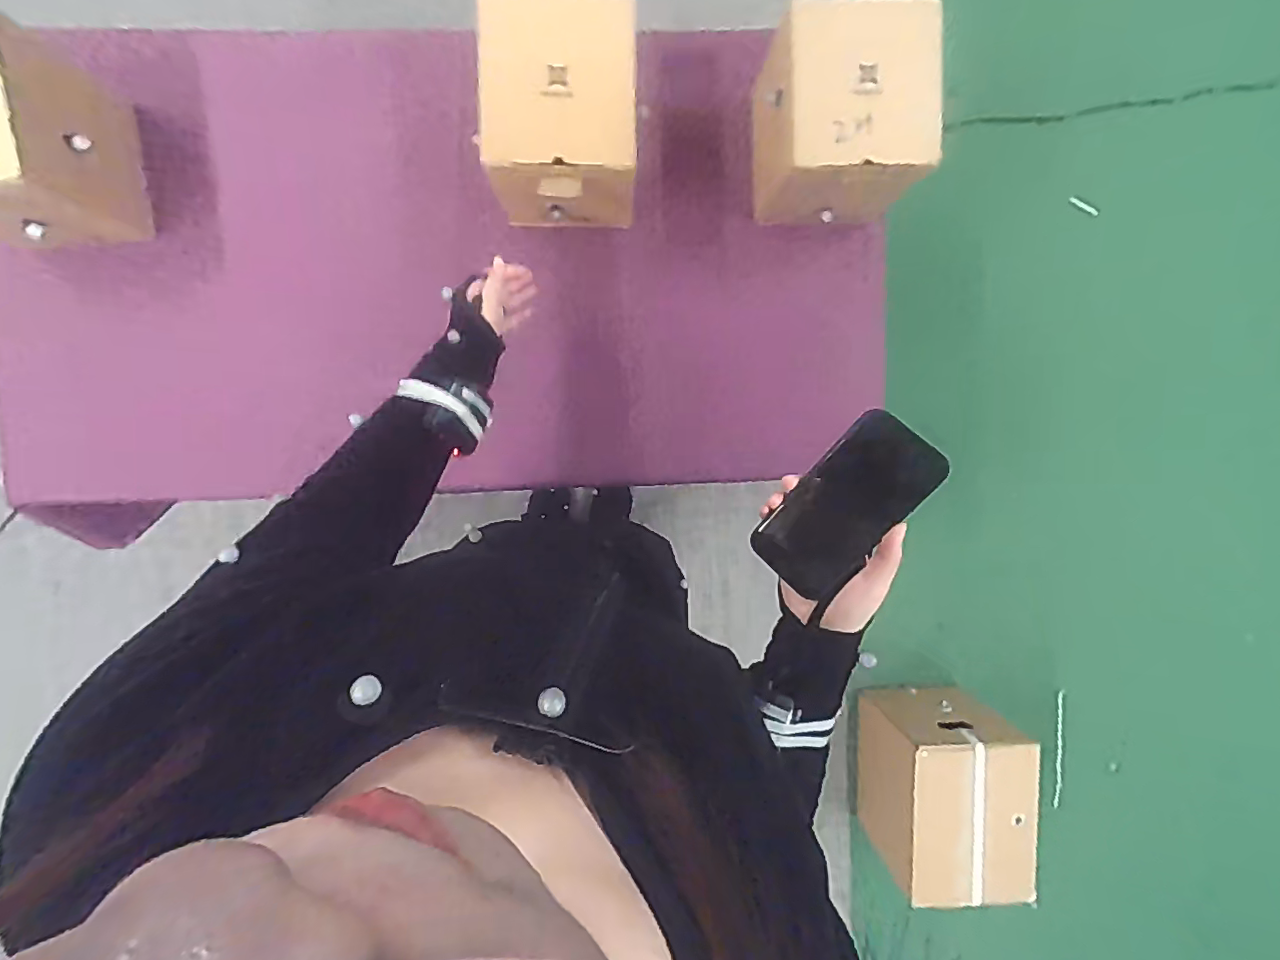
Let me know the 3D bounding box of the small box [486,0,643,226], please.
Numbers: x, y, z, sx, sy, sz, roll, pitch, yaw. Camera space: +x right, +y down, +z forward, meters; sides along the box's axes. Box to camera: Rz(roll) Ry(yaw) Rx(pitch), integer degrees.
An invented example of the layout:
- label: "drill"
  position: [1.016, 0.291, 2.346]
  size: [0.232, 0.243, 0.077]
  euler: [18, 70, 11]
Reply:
- label: "small box"
  position: [-0.085, -0.430, 0.650]
  size: [0.168, 0.176, 0.179]
  euler: [0, 96, -3]

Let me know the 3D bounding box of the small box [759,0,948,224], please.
- label: "small box"
  position: [0.246, -0.436, 0.661]
  size: [0.168, 0.176, 0.179]
  euler: [-2, 95, -1]
